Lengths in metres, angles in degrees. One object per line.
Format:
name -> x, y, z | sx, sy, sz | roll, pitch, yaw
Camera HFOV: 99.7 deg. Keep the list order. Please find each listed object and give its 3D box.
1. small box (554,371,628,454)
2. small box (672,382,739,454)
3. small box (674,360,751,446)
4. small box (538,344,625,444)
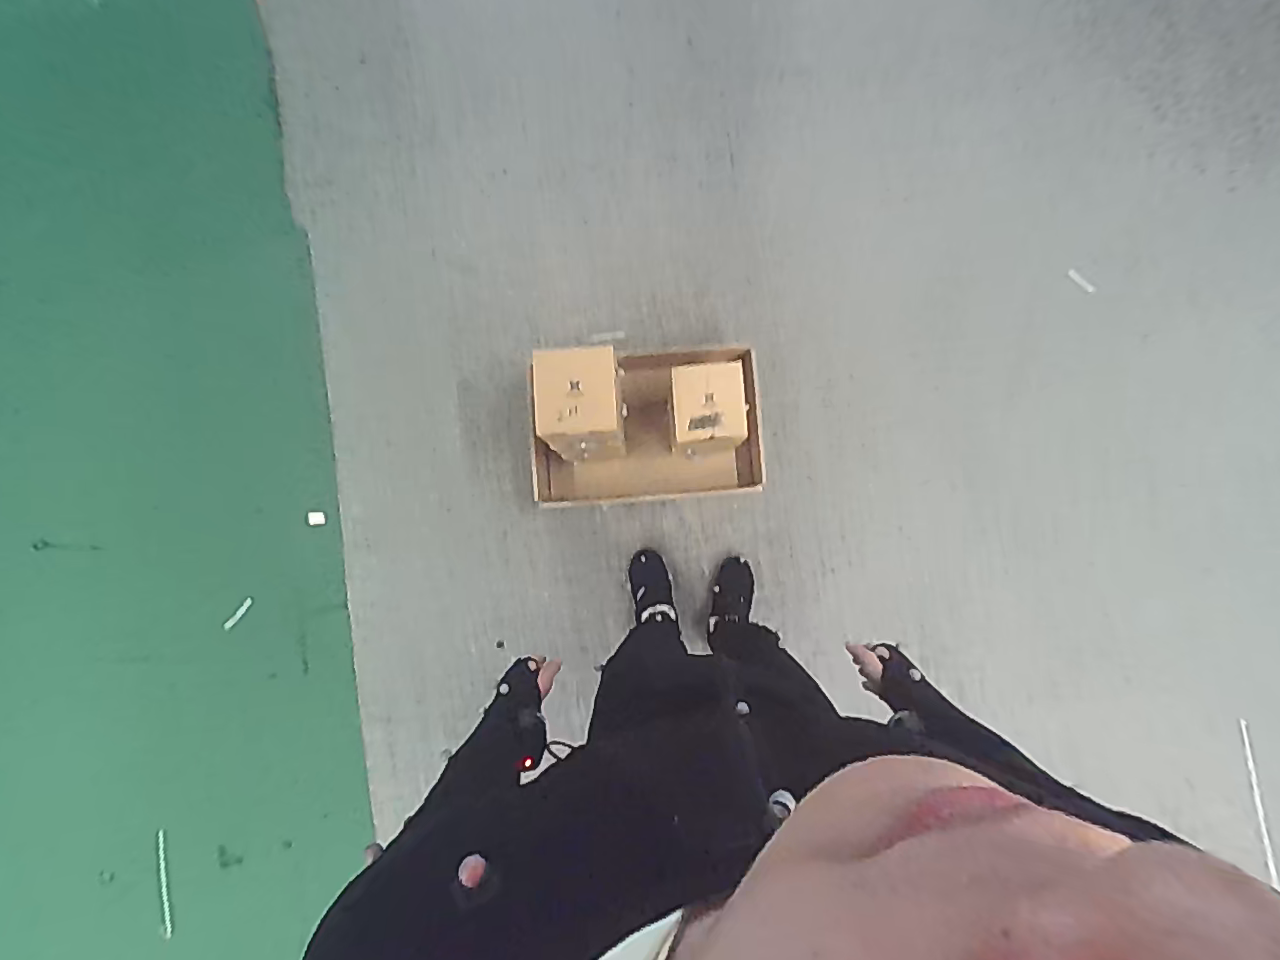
small box -> -0.119, -0.163, 1.325 | 0.168, 0.176, 0.179 | -4, 86, 1
small box -> 0.174, -0.169, 1.475 | 0.168, 0.176, 0.179 | -4, 87, 4
small box -> 0.172, -0.179, 1.311 | 0.168, 0.176, 0.179 | -4, 86, 4
small box -> -0.121, -0.178, 1.162 | 0.168, 0.176, 0.179 | -3, 86, 2
